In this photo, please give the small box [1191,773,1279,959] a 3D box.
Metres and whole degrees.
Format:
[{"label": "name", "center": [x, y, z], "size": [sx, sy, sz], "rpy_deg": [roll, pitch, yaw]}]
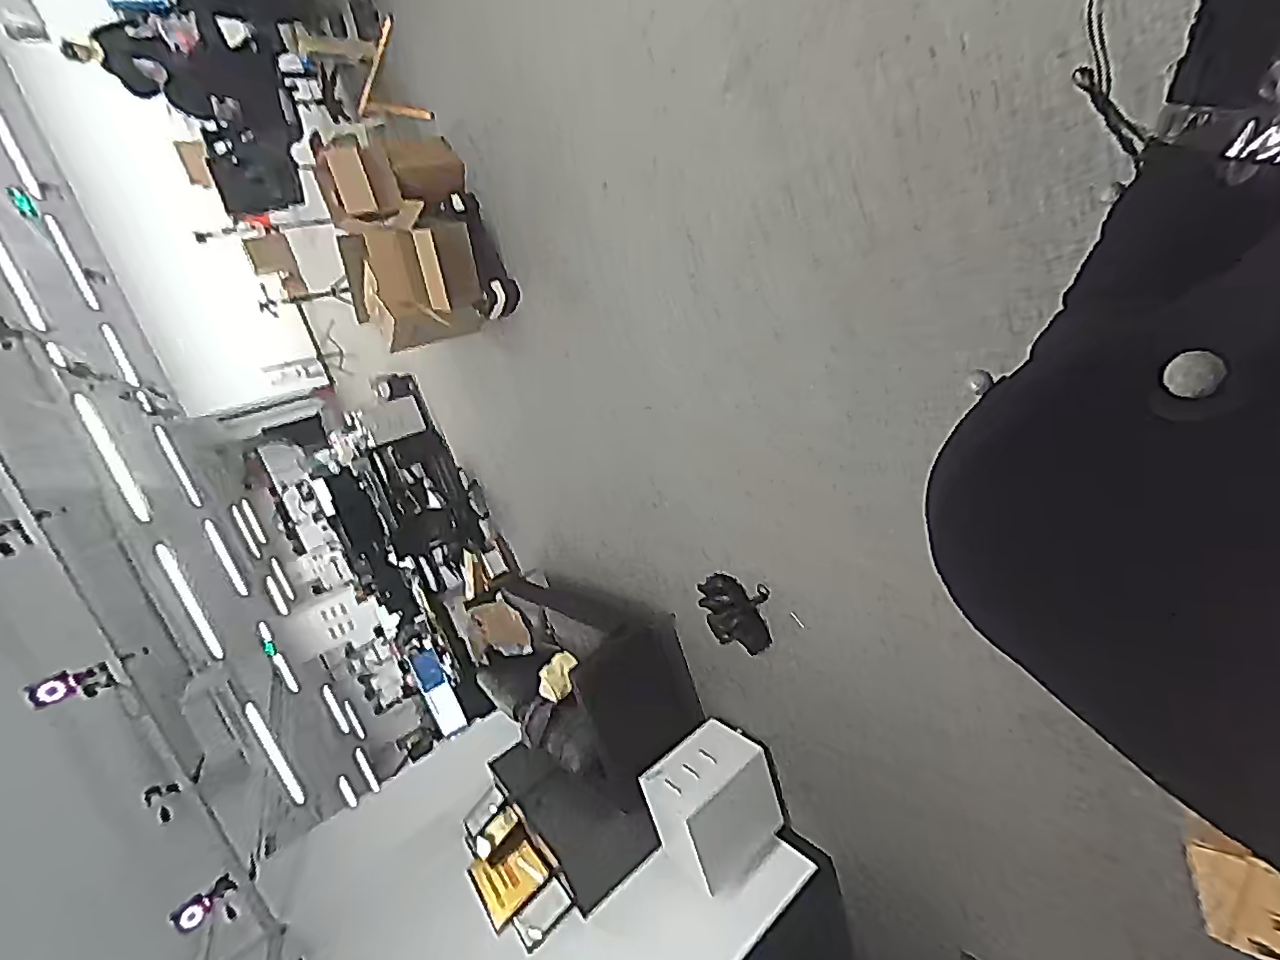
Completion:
[{"label": "small box", "center": [0.936, 0.566, 0.776], "size": [0.168, 0.176, 0.179], "rpy_deg": [-7, 103, 58]}]
